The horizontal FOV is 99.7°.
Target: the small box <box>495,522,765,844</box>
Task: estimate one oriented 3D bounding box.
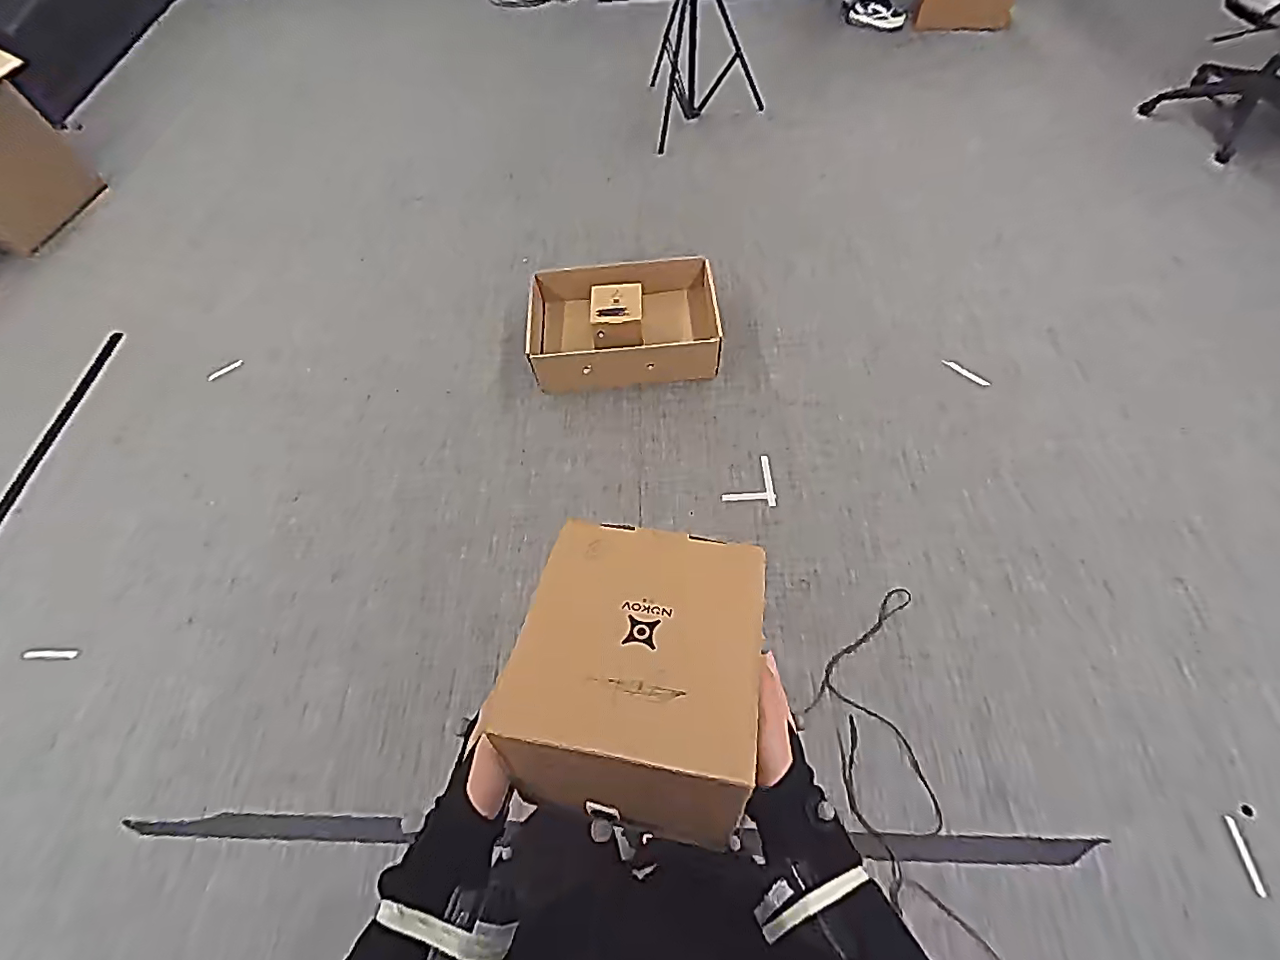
[{"bbox_3d":[0.004,0.162,0.438,0.168,0.176,0.179,7,46,8],"label":"small box"}]
